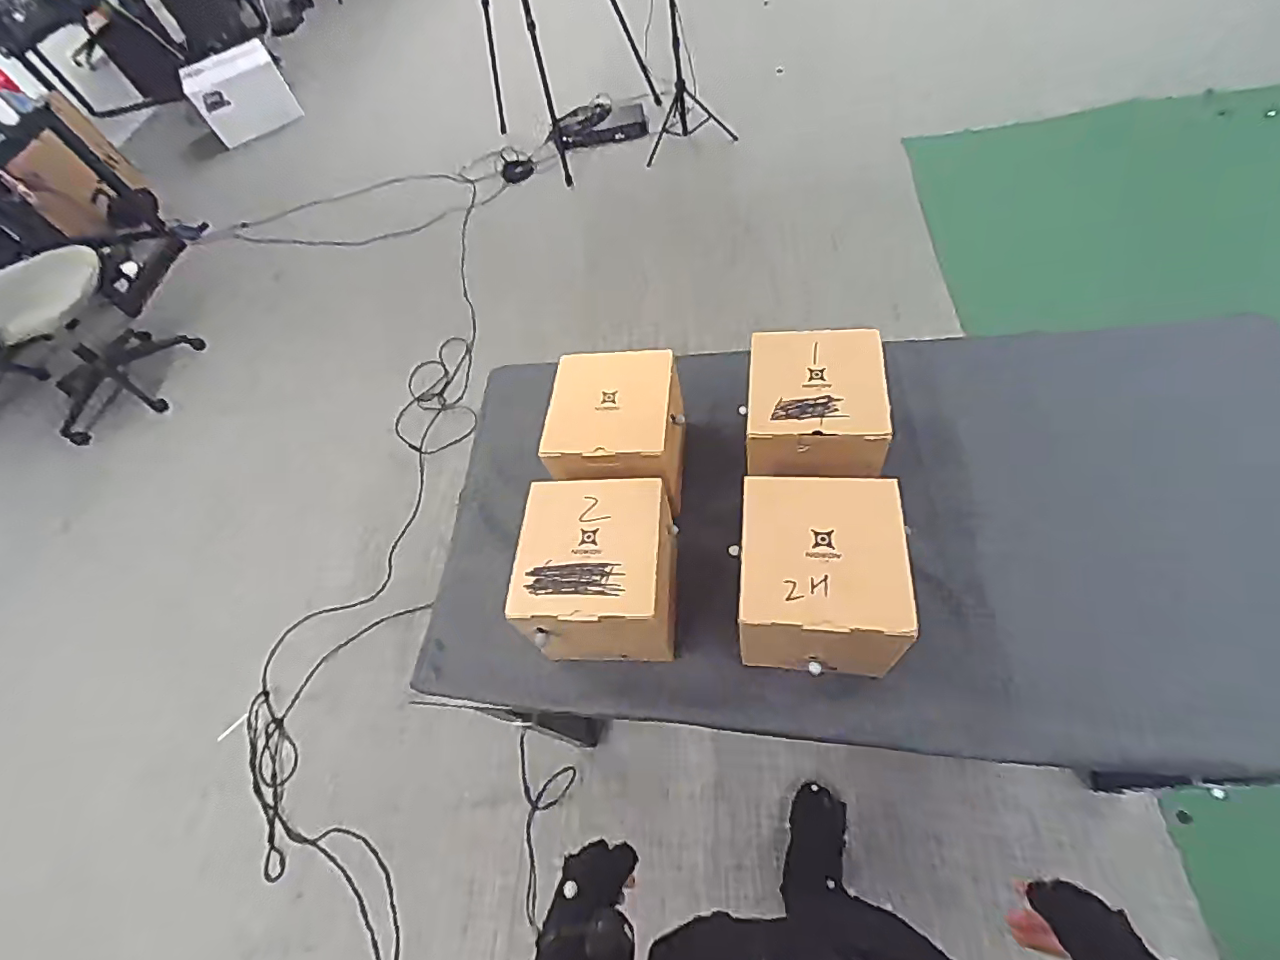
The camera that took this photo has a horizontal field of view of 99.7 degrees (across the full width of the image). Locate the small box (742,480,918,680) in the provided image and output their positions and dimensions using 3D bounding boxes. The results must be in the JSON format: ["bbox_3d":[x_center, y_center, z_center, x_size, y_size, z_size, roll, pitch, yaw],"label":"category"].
[{"bbox_3d":[0.205,0.118,0.631,0.168,0.176,0.179,1,58,12],"label":"small box"}]
